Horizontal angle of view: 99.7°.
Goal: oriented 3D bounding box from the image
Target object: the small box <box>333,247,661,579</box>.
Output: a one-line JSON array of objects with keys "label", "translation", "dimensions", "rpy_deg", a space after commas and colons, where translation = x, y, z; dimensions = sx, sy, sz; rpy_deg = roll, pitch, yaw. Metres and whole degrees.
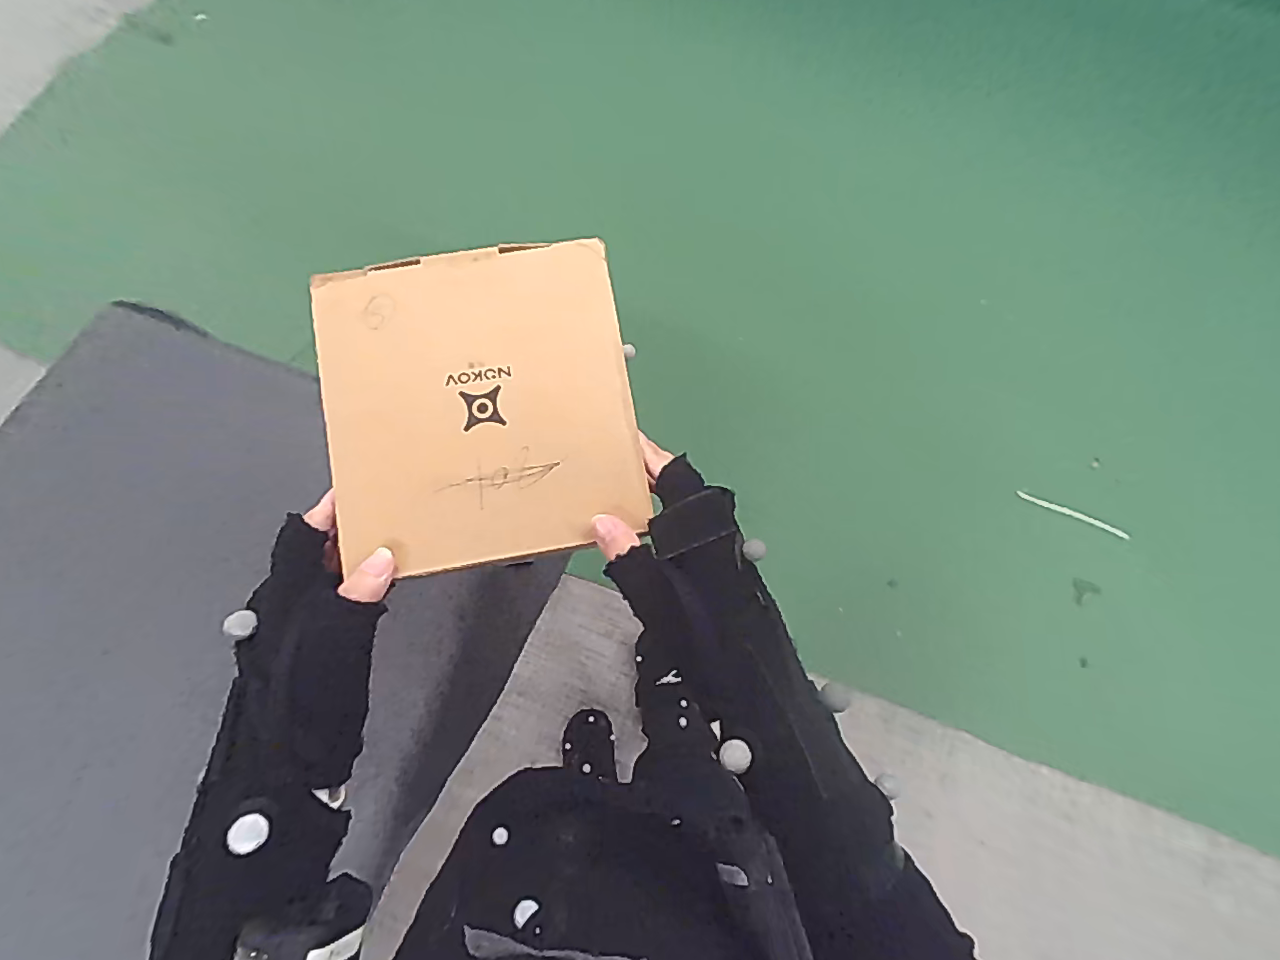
[{"label": "small box", "translation": [-0.086, -0.031, 0.380], "dimensions": [0.168, 0.176, 0.179], "rpy_deg": [-9, 83, -4]}]
